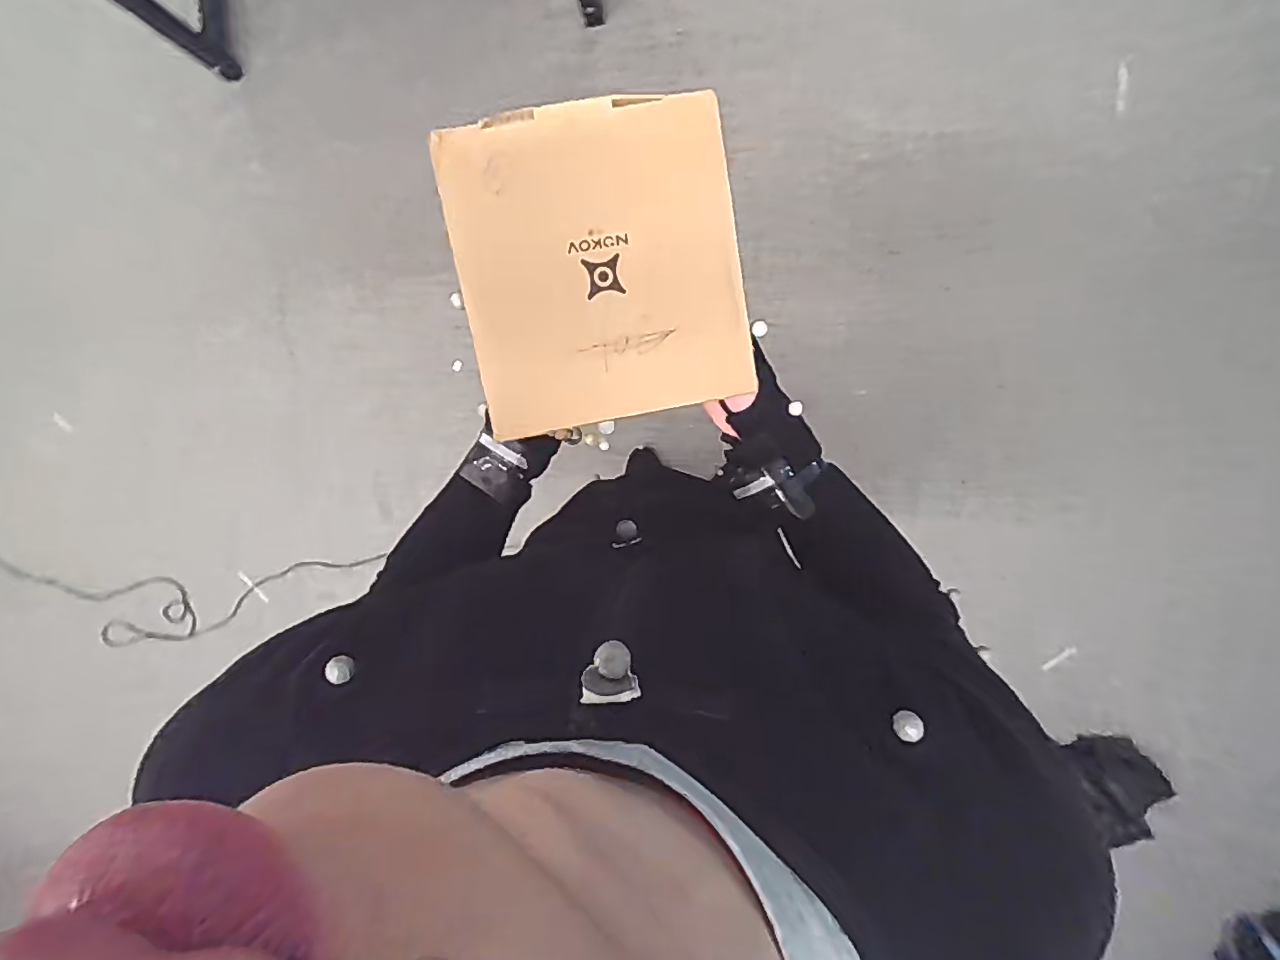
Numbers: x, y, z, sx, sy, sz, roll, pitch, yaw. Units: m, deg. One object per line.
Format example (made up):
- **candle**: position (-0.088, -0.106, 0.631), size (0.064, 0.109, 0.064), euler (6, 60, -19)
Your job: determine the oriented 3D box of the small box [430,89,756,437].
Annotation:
- **small box**: position (-0.030, -0.137, 0.398), size (0.168, 0.176, 0.179), euler (-13, 100, -2)
